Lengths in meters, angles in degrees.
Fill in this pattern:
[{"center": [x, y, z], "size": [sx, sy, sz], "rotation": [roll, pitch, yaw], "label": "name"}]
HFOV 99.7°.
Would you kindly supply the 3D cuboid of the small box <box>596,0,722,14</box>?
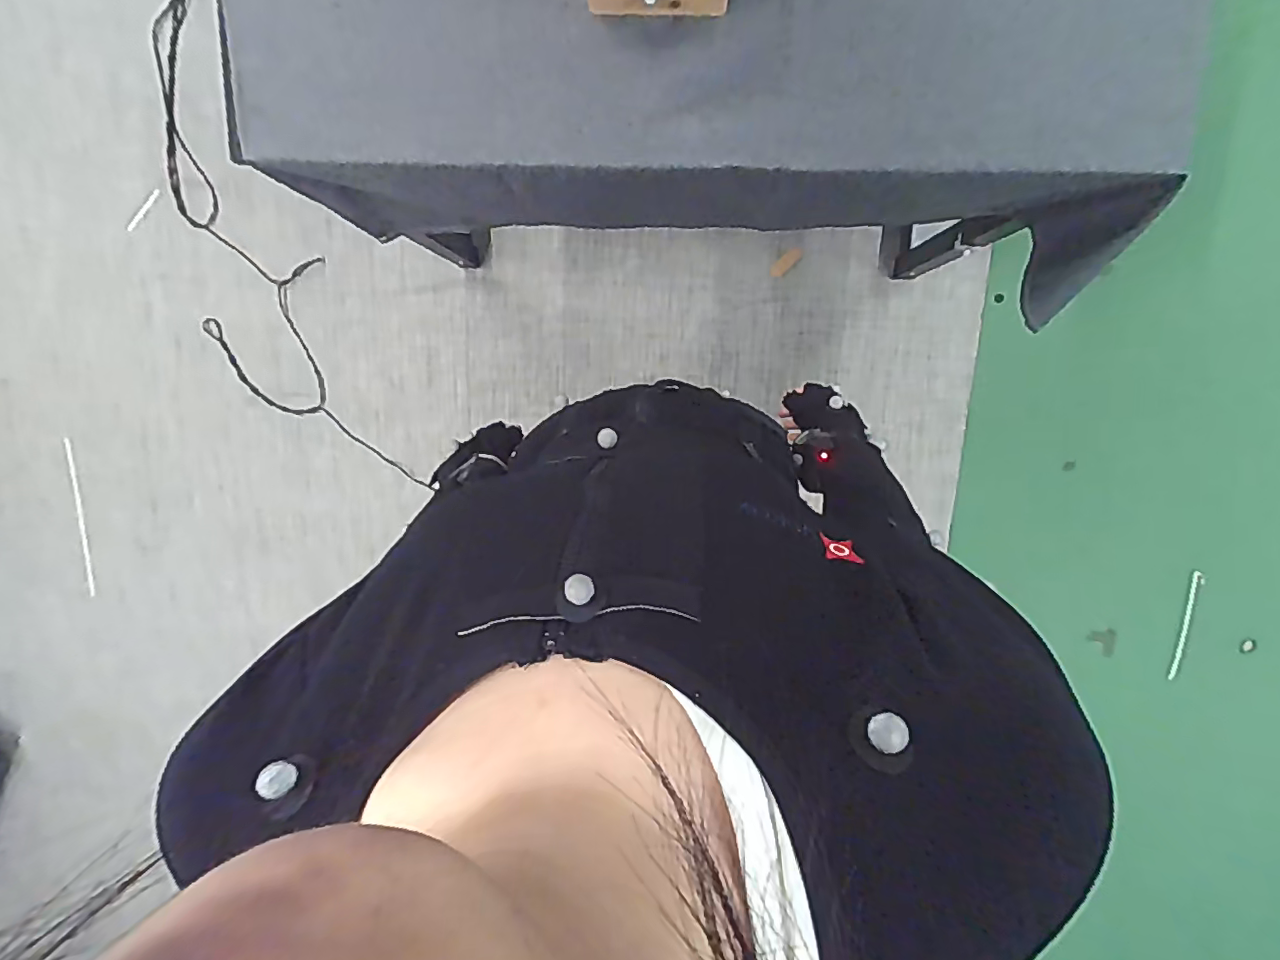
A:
[{"center": [0.019, -0.639, 0.559], "size": [0.168, 0.176, 0.179], "rotation": [3, 100, 3], "label": "small box"}]
